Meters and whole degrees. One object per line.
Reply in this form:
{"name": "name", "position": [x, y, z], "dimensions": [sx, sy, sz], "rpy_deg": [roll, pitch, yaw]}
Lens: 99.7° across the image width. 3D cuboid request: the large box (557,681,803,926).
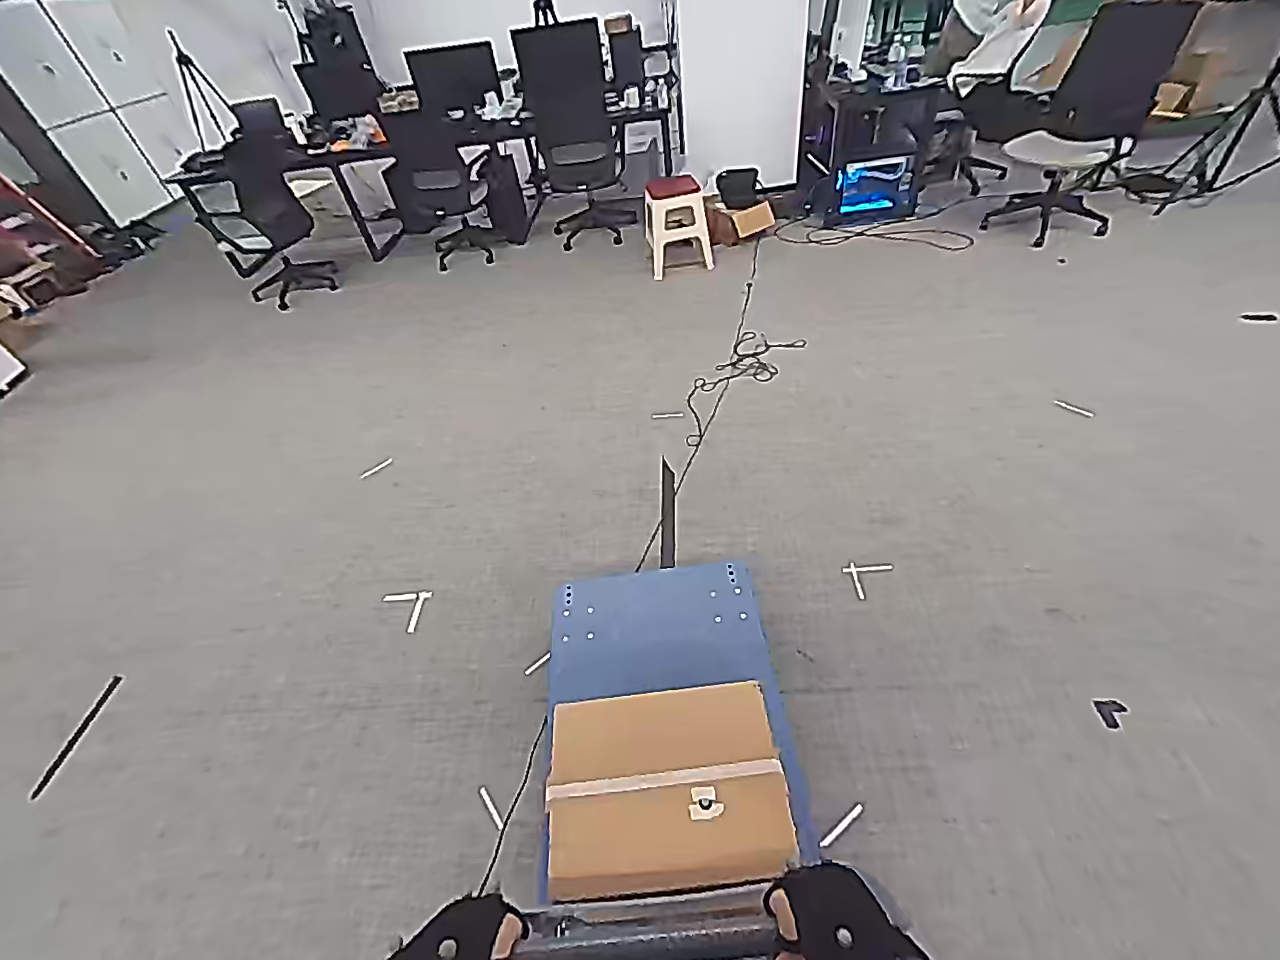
{"name": "large box", "position": [0.065, 0.636, 1.061], "dimensions": [0.408, 0.320, 0.320], "rpy_deg": [-8, 45, 1]}
